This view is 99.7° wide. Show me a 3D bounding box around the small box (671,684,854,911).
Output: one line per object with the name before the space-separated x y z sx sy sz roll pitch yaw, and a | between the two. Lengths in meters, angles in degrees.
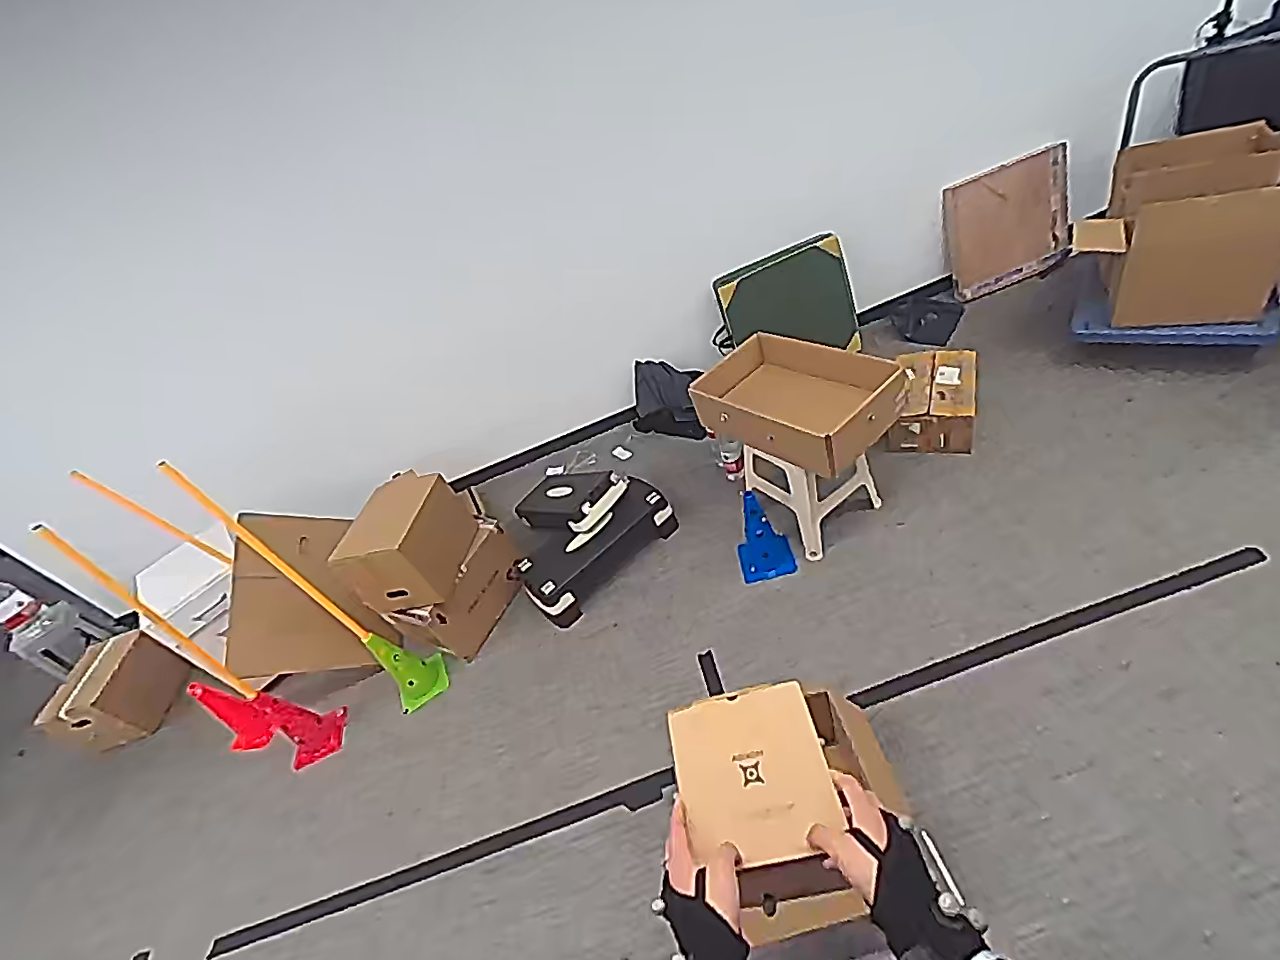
small box | 0.141 0.380 0.649 0.168 0.176 0.179 -15 40 5
